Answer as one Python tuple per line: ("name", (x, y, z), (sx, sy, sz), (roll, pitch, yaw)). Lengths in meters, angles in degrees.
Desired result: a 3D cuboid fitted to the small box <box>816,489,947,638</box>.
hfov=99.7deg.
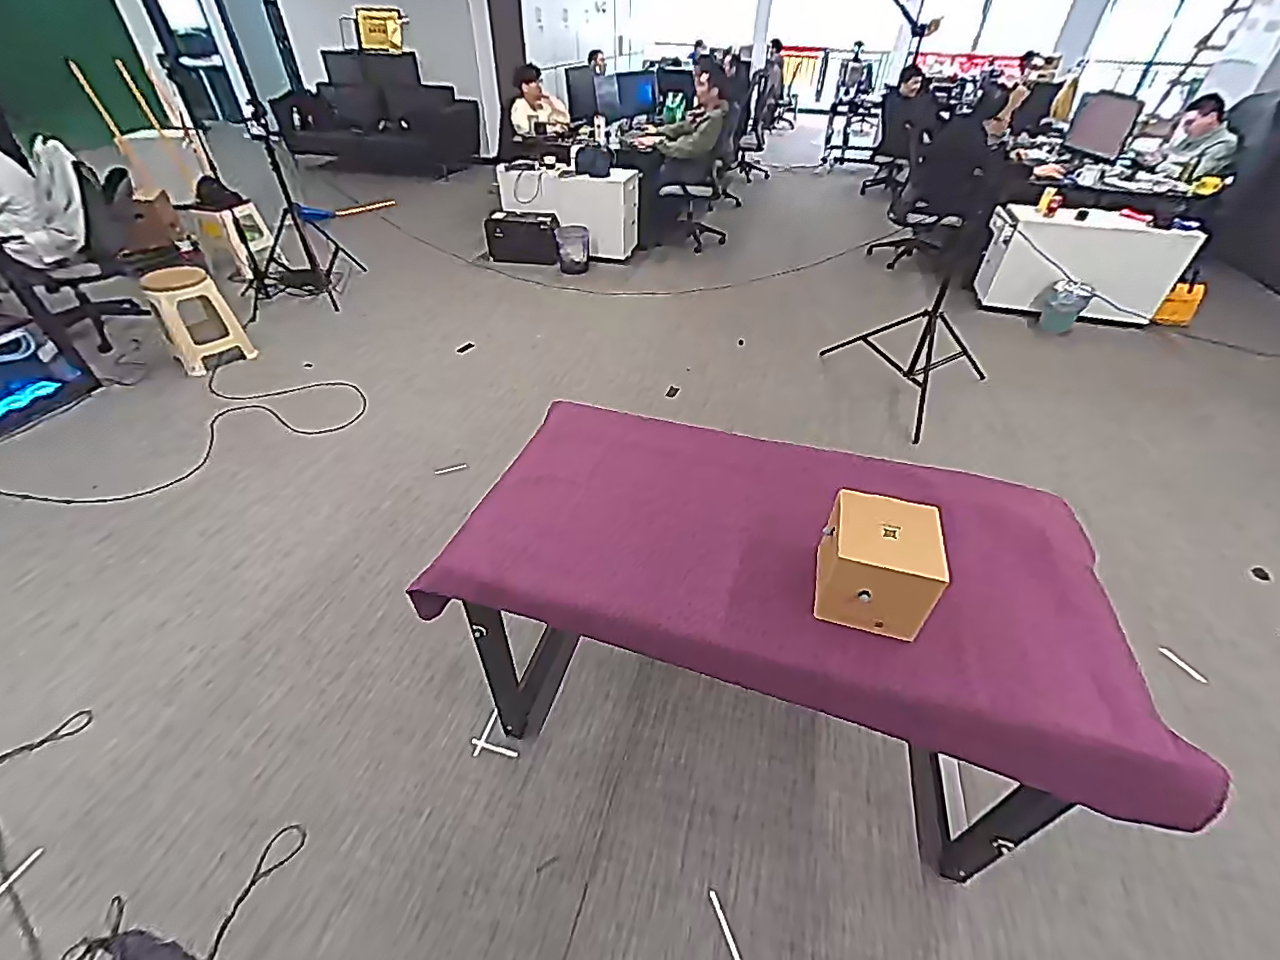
("small box", (0.412, 0.146, 0.945), (0.168, 0.176, 0.179), (12, 41, 12))
